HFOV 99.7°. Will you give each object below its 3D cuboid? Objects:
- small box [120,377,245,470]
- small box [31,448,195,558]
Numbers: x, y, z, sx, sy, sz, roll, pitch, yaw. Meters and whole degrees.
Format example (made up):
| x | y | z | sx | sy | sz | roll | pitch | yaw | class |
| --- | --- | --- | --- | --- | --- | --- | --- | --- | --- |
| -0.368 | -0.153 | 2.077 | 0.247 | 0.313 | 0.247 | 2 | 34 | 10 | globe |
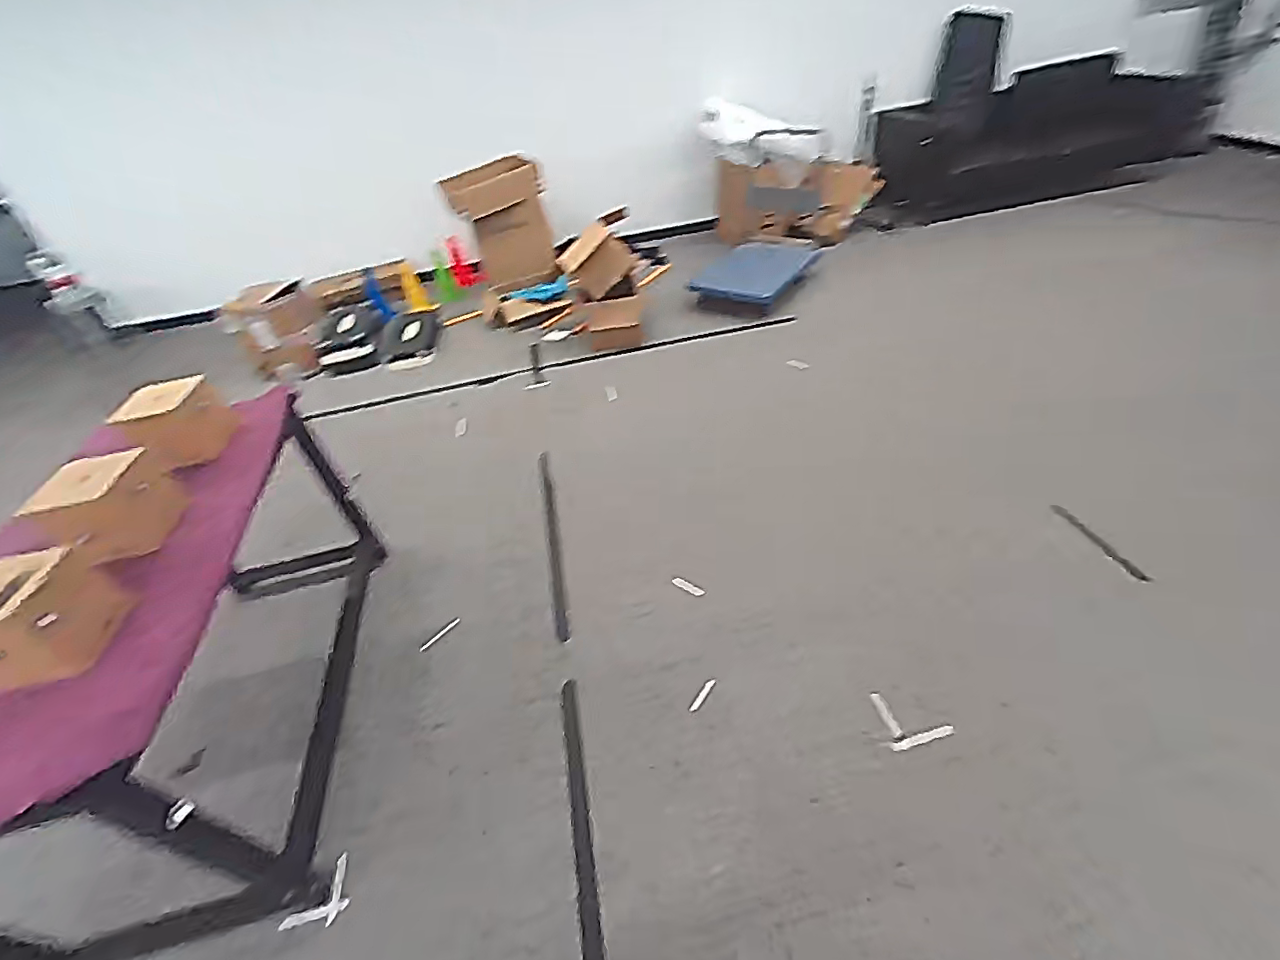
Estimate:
| x | y | z | sx | sy | sz | roll | pitch | yaw | class |
| --- | --- | --- | --- | --- | --- | --- | --- | --- | --- |
| -1.223 | -0.153 | 1.466 | 0.168 | 0.176 | 0.179 | -12 | 42 | -2 | small box |
| -1.159 | 0.057 | 1.212 | 0.168 | 0.176 | 0.179 | -11 | 40 | -3 | small box |
